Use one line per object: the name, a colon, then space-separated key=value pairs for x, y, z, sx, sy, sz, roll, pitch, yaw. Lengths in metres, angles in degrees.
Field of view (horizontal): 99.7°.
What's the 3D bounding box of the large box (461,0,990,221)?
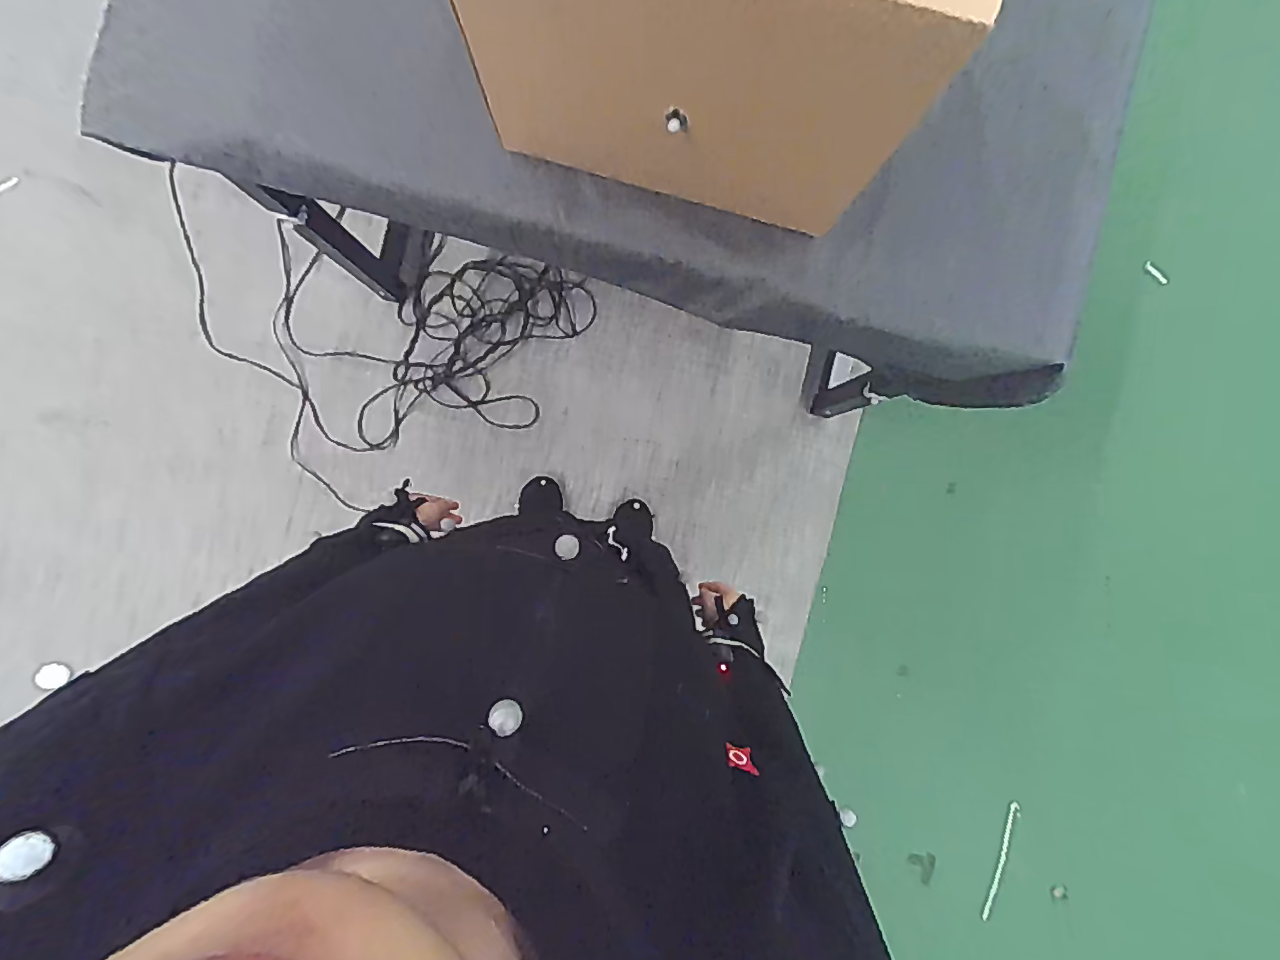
large box: x=0.076 y=-0.503 z=0.516 sx=0.408 sy=0.320 sz=0.320 roll=13 pitch=89 yaw=-1
